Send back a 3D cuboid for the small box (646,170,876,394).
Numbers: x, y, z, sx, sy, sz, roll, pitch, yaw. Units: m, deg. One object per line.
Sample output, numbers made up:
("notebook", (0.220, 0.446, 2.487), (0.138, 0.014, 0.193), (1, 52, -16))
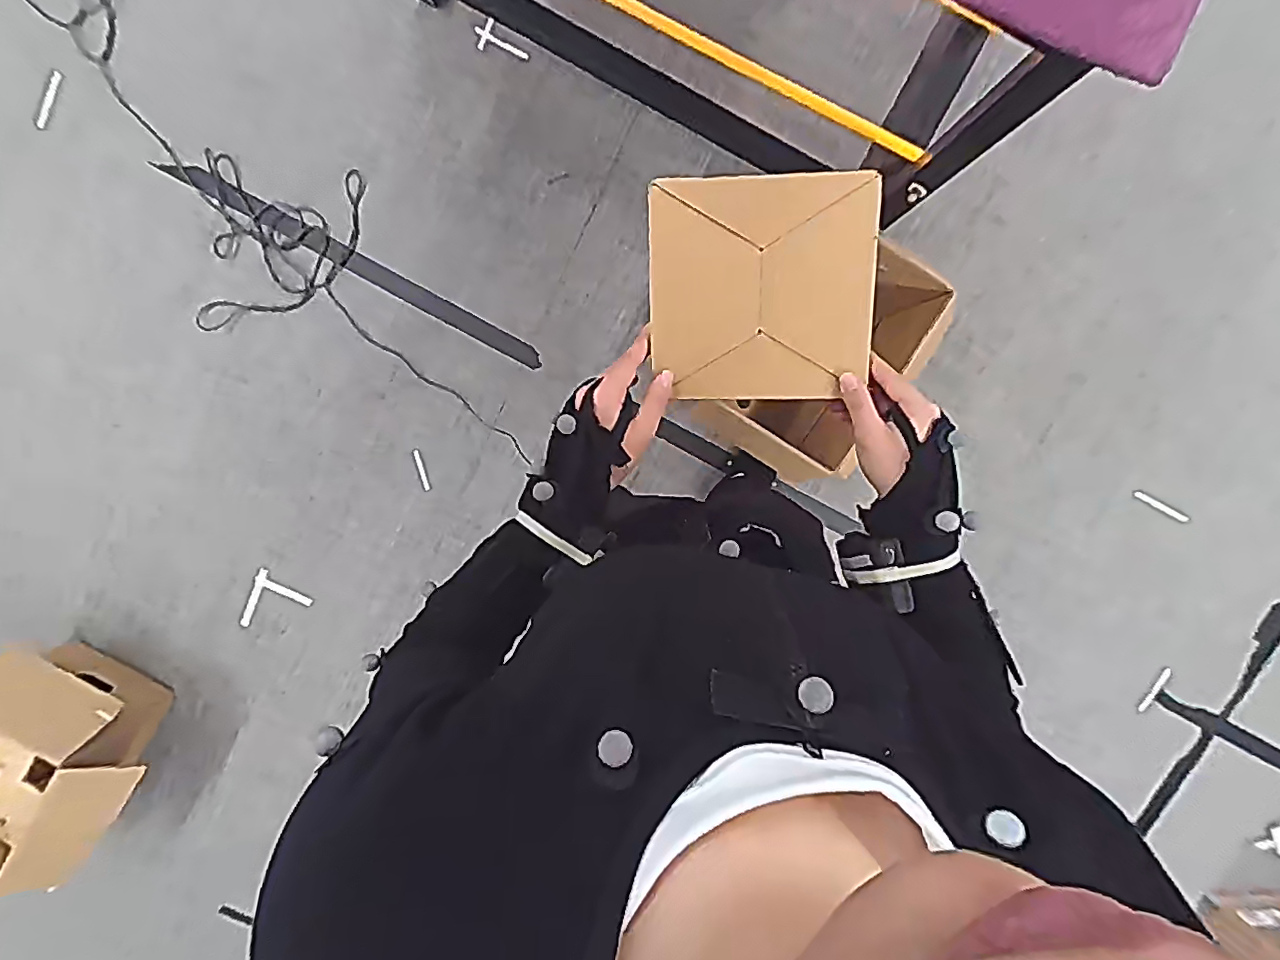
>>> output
("small box", (0.094, -0.167, 0.498), (0.179, 0.176, 0.168), (0, 101, 3))
